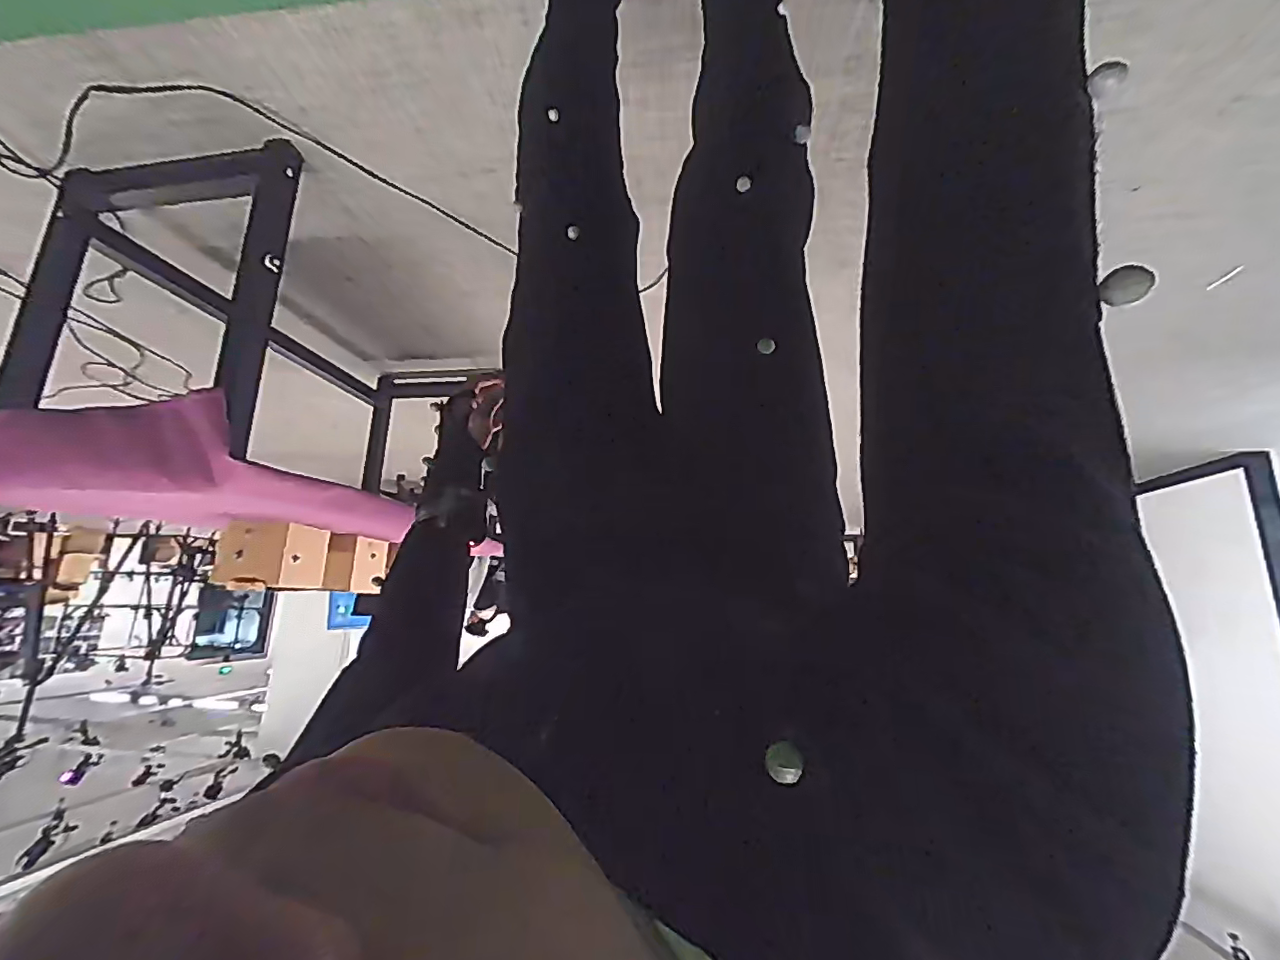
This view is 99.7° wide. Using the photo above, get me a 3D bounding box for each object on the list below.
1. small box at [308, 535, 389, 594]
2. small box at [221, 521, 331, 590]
[{"bbox_3d":[-0.921,0.267,1.701,0.179,0.176,0.168,0,167,7],"label":"small box"},{"bbox_3d":[-0.961,0.204,1.441,0.168,0.176,0.179,1,167,4],"label":"small box"}]
